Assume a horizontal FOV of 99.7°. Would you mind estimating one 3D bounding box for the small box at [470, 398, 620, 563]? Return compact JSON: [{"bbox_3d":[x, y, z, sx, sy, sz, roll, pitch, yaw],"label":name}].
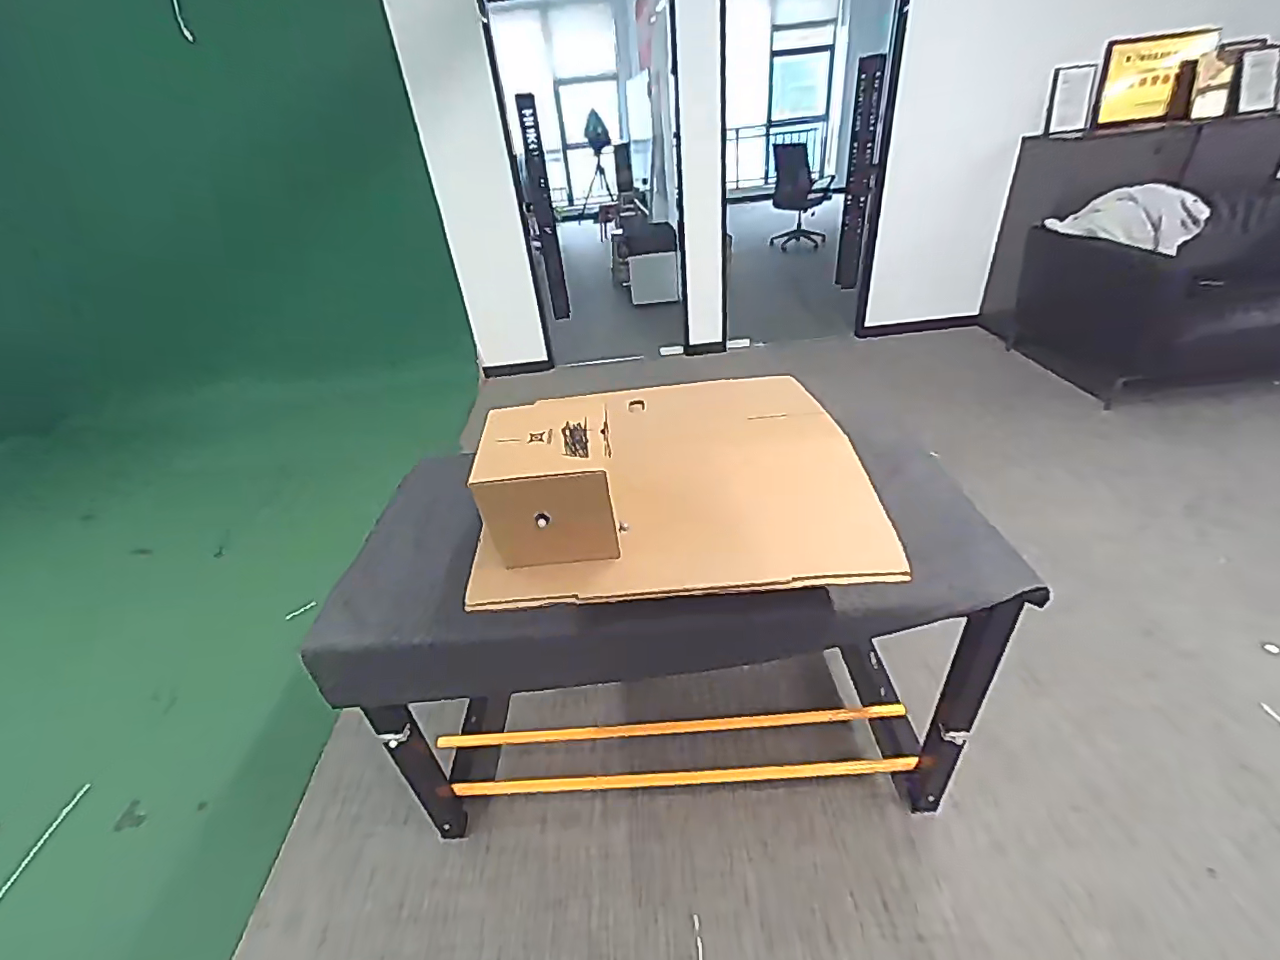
[{"bbox_3d":[-0.122,0.002,0.785,0.179,0.176,0.168,-6,41,3],"label":"small box"}]
